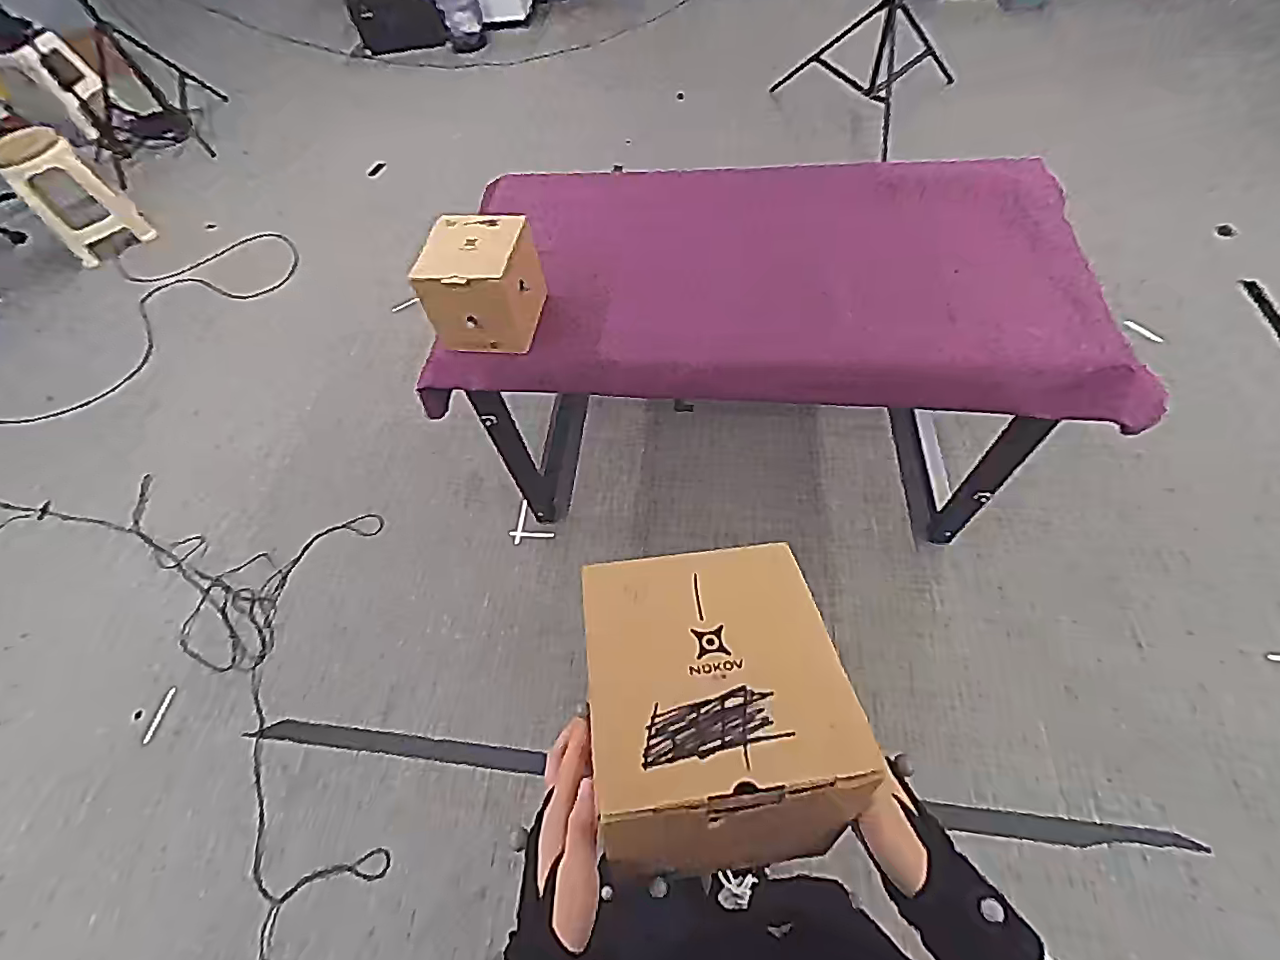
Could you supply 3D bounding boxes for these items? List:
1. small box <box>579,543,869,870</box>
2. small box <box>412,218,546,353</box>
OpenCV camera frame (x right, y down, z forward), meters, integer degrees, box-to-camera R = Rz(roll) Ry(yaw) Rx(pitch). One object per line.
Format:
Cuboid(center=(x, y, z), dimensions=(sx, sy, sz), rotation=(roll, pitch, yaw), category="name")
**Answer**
Cuboid(center=(0.046, 0.176, 0.419), dimensions=(0.168, 0.176, 0.179), rotation=(-6, 42, -5), category="small box")
Cuboid(center=(-0.283, -0.354, 0.997), dimensions=(0.168, 0.176, 0.179), rotation=(4, 60, 8), category="small box")
